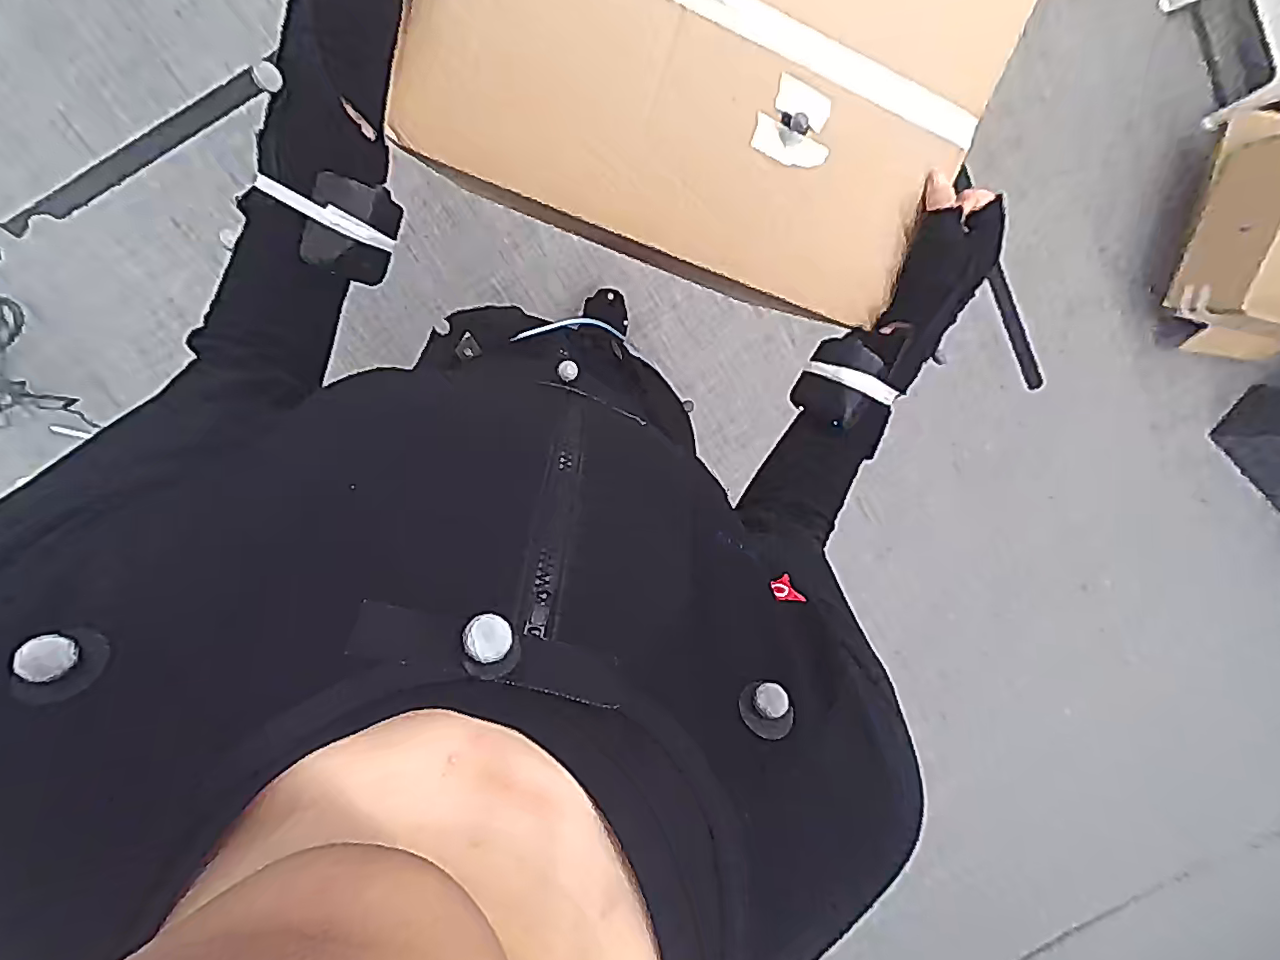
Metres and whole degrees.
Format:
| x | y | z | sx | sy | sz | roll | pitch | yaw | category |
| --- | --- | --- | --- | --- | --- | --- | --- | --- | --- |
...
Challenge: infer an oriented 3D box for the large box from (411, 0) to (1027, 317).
| x | y | z | sx | sy | sz | roll | pitch | yaw | category |
| --- | --- | --- | --- | --- | --- | --- | --- | --- | --- |
| 0.048 | -0.383 | 0.513 | 0.408 | 0.320 | 0.320 | 16 | 111 | -15 | large box |
